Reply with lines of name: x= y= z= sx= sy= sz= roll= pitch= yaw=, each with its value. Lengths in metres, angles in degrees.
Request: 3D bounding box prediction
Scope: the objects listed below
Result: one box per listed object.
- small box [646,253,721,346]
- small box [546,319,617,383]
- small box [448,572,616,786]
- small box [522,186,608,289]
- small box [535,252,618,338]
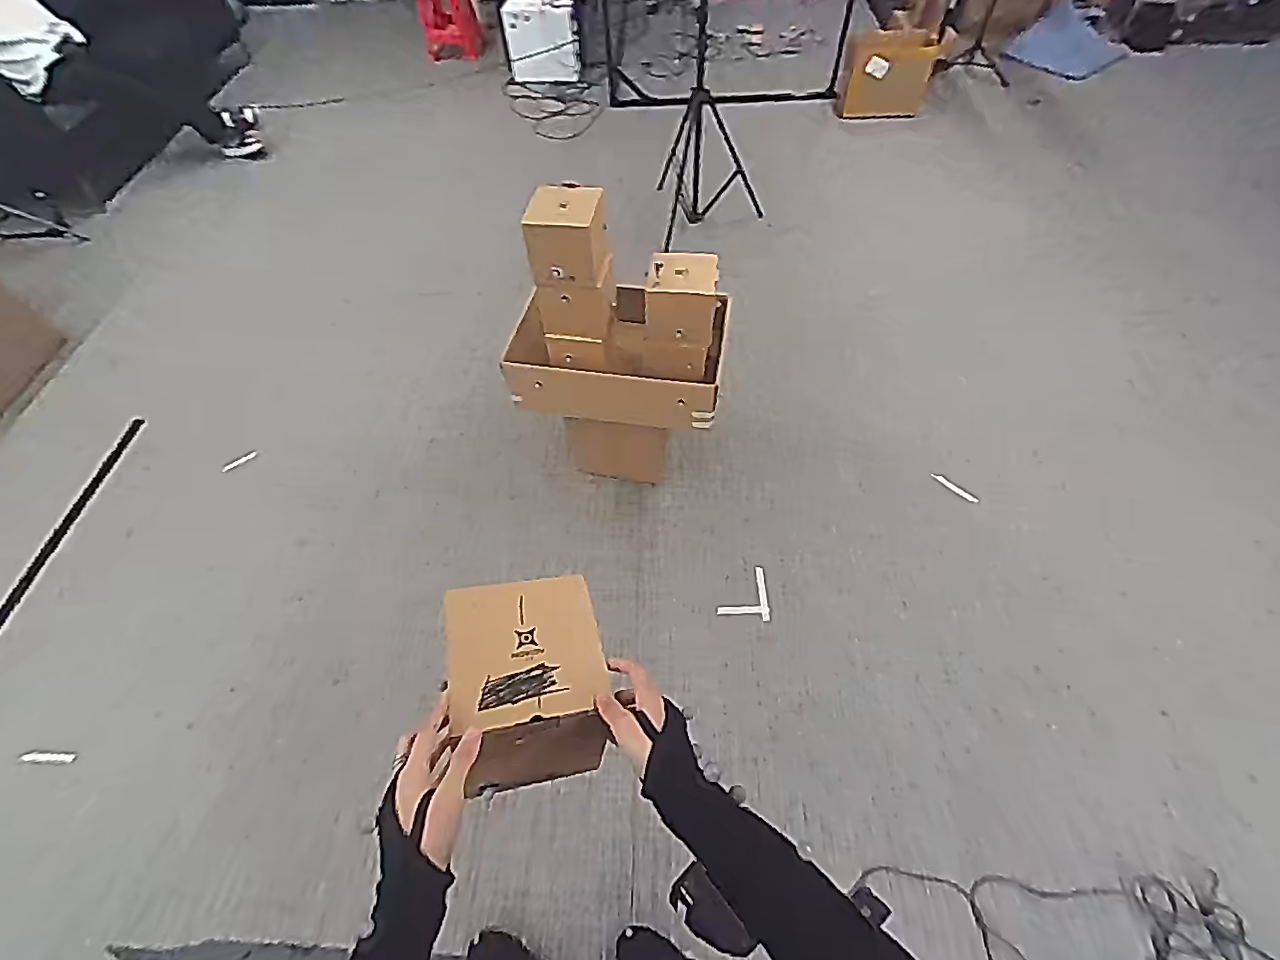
small box: x=0.114 y=-0.475 z=1.435 sx=0.179 sy=0.176 sz=0.168 roll=6 pitch=56 yaw=6
small box: x=-0.165 y=-0.409 z=1.606 sx=0.168 sy=0.176 sz=0.179 roll=7 pitch=56 yaw=6
small box: x=-0.133 y=0.235 z=0.637 sx=0.168 sy=0.176 sz=0.179 roll=-3 pitch=43 yaw=-17
small box: x=-0.175 y=-0.601 z=1.340 sx=0.168 sy=0.176 sz=0.179 roll=6 pitch=55 yaw=7
small box: x=-0.165 y=-0.507 z=1.474 sx=0.179 sy=0.176 sz=0.168 roll=8 pitch=56 yaw=7
